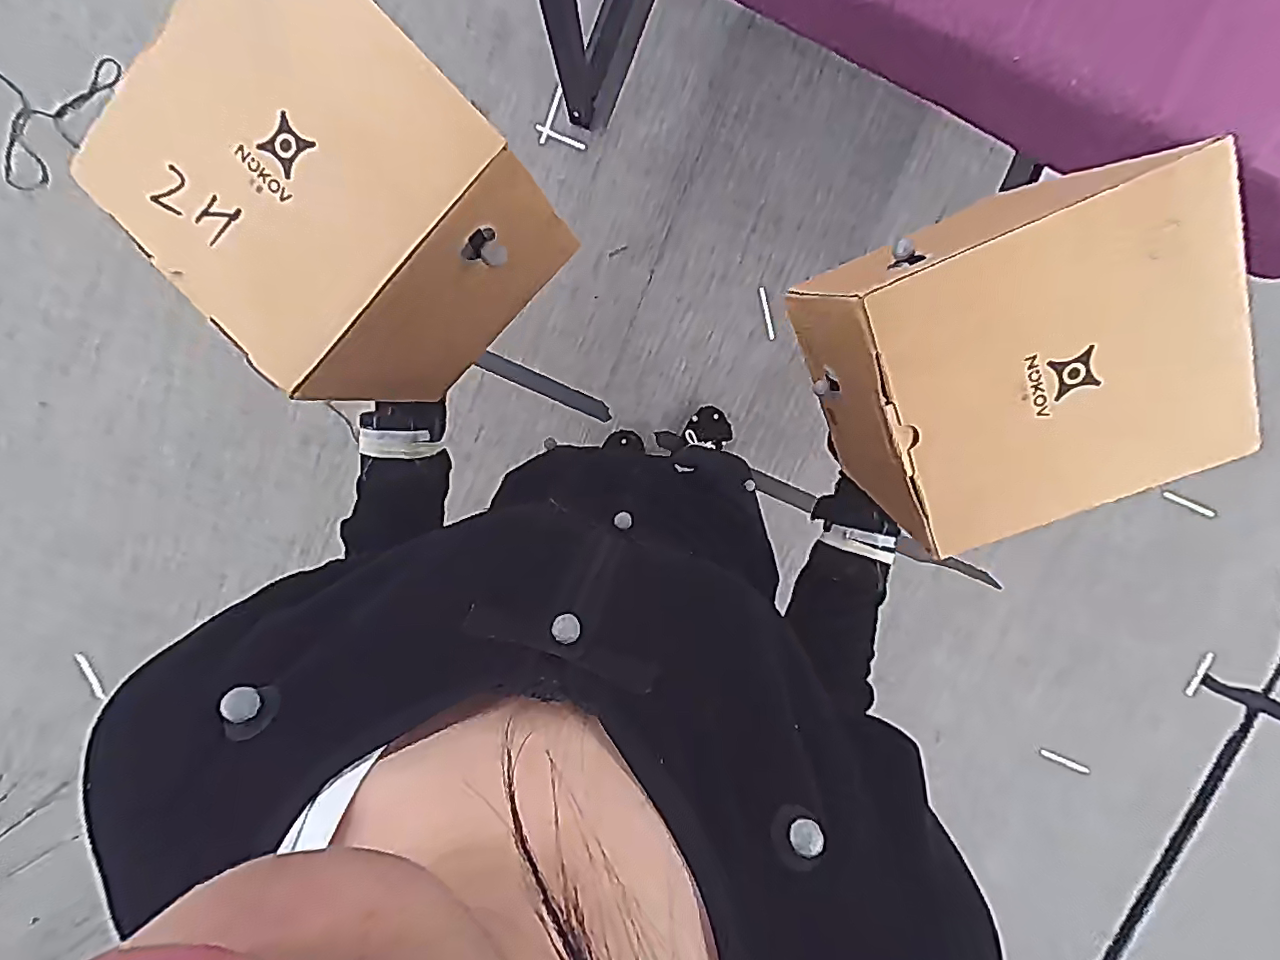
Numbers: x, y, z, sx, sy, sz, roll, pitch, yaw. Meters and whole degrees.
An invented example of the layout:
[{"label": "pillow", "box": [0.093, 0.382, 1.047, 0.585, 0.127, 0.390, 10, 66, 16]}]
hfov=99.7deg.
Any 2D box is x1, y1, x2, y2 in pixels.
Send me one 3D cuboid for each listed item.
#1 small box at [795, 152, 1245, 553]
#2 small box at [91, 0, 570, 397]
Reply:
[{"label": "small box", "box": [0.228, -0.084, 0.365, 0.179, 0.176, 0.168, -22, 108, 10]}, {"label": "small box", "box": [-0.163, -0.172, 0.350, 0.179, 0.176, 0.168, -44, 91, 11]}]
